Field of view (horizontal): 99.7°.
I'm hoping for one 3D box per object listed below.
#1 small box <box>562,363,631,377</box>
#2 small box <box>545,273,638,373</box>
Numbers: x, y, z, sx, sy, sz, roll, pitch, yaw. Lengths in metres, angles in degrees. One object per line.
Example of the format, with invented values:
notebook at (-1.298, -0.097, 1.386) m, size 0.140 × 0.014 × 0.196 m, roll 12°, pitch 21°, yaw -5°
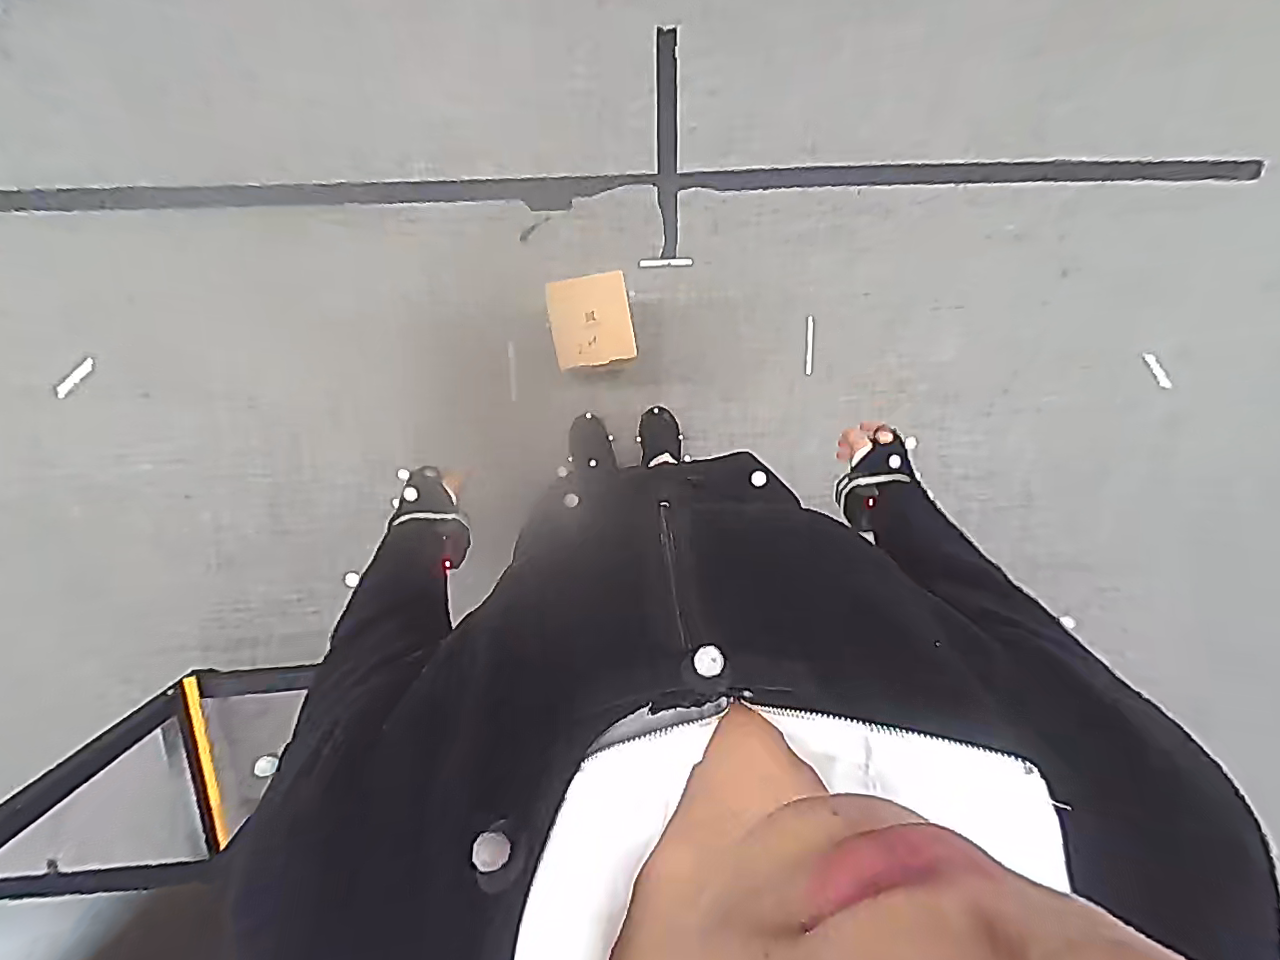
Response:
small box at (-0.113, -0.350, 1.341) m, size 0.168 × 0.176 × 0.179 m, roll -6°, pitch 102°, yaw -1°
small box at (-0.102, -0.333, 1.177) m, size 0.168 × 0.176 × 0.179 m, roll -10°, pitch 101°, yaw 0°
